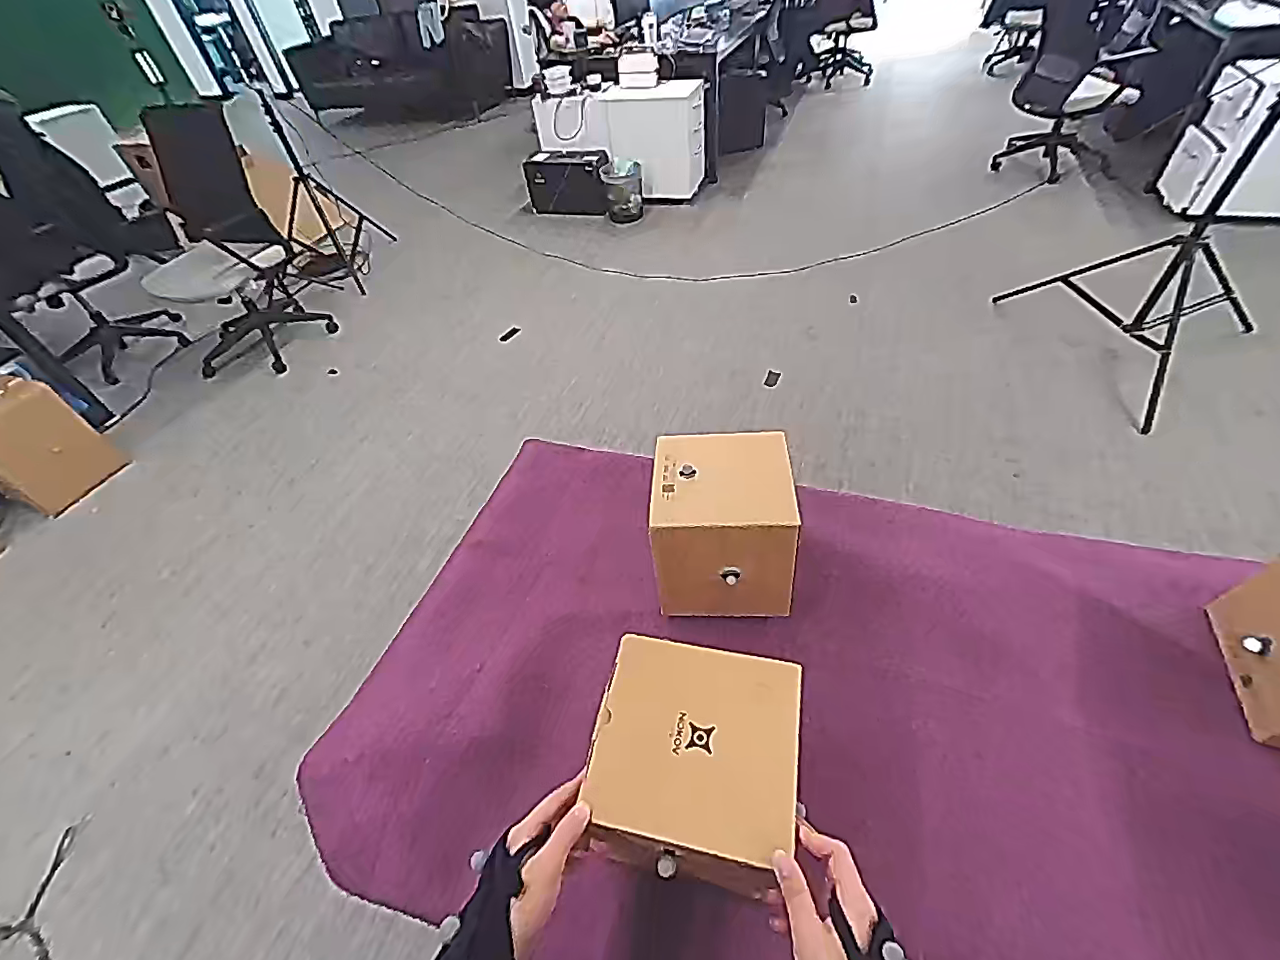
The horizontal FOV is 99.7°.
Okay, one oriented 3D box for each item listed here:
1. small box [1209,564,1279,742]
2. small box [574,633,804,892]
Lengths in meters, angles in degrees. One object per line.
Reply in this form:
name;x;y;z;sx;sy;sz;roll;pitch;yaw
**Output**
small box;0.738;0.171;0.527;0.179;0.176;0.168;10;50;17
small box;0.056;0.275;0.524;0.179;0.176;0.168;6;48;13
